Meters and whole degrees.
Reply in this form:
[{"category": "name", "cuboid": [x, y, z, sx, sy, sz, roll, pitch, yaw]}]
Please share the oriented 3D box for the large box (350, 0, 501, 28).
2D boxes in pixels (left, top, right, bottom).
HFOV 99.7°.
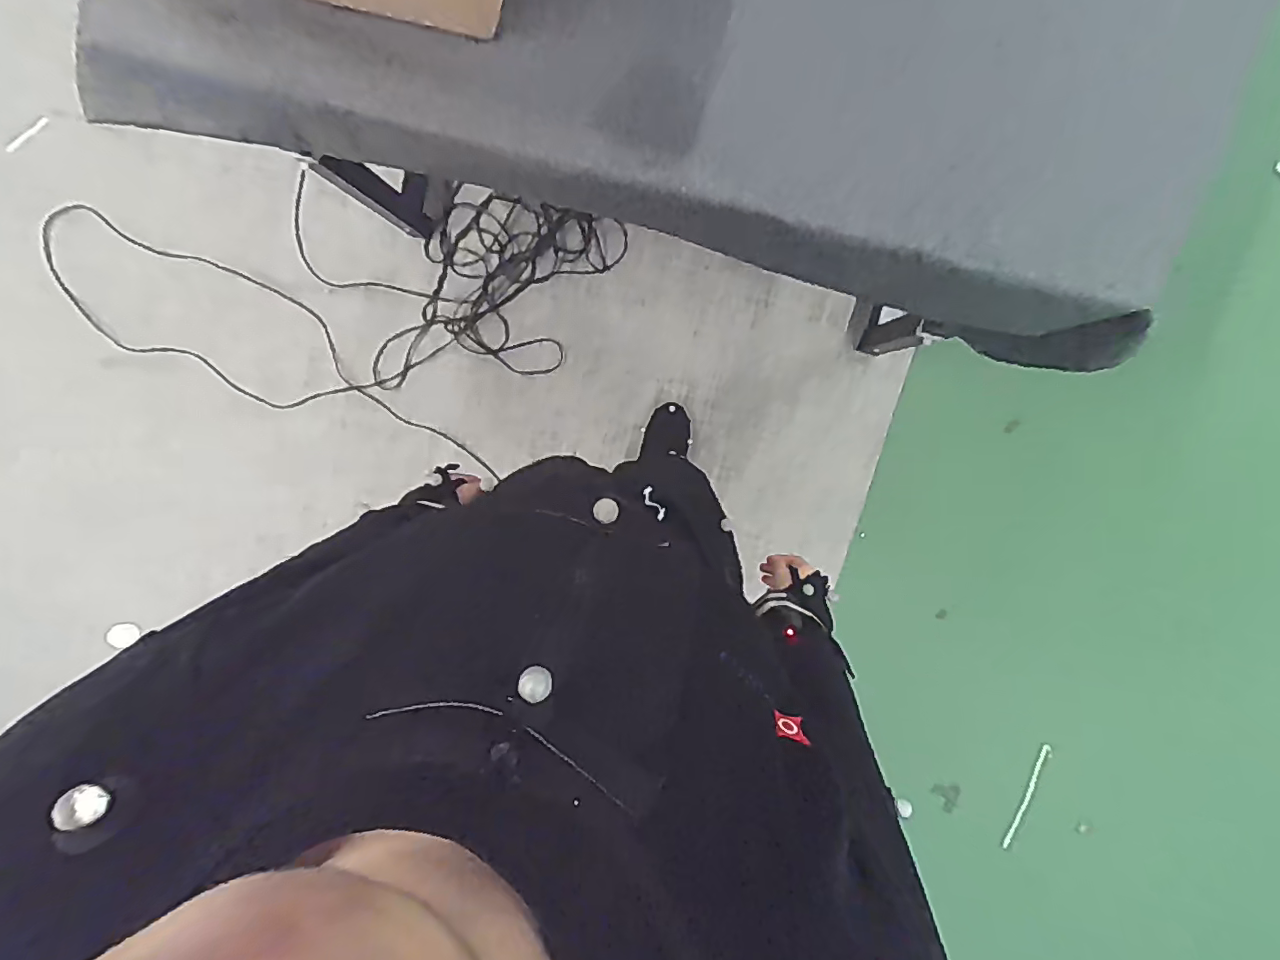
[{"category": "large box", "cuboid": [-0.316, -0.642, 0.406, 0.408, 0.320, 0.320, 12, 98, -2]}]
